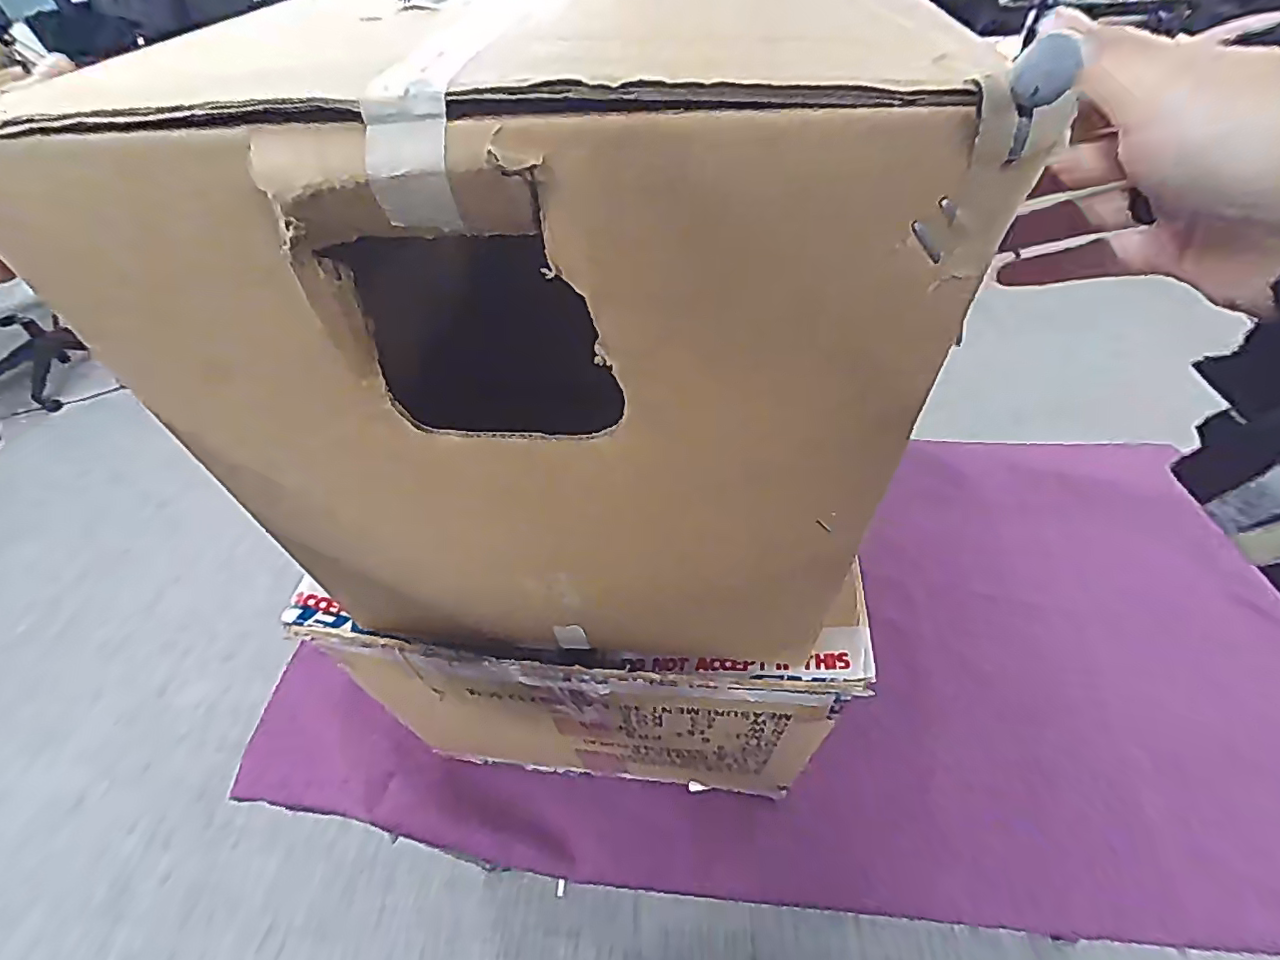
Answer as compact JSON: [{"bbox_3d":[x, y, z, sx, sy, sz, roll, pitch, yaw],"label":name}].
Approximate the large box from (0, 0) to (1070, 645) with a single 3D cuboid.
[{"bbox_3d":[-0.024,-0.141,0.385,0.320,0.320,0.408,1,49,6],"label":"large box"}]
